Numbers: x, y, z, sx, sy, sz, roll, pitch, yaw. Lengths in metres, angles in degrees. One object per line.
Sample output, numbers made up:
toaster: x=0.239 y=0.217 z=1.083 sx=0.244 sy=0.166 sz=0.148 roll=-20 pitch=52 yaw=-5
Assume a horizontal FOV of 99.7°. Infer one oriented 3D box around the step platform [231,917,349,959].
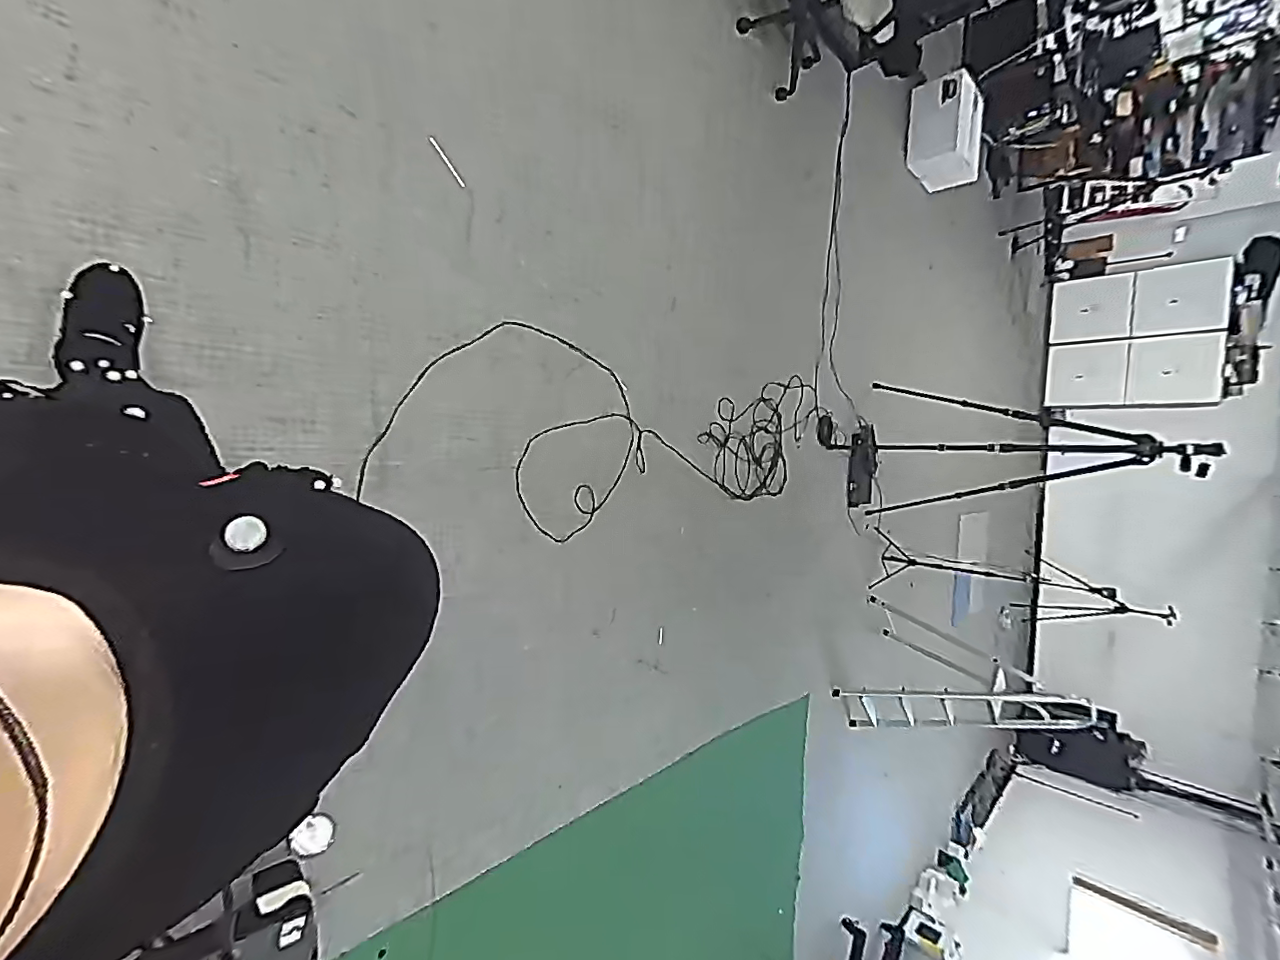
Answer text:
step platform: x=-0.887 y=1.128 z=0.956 sx=0.684 sy=0.204 sz=0.286 roll=-1 pitch=94 yaw=-46
